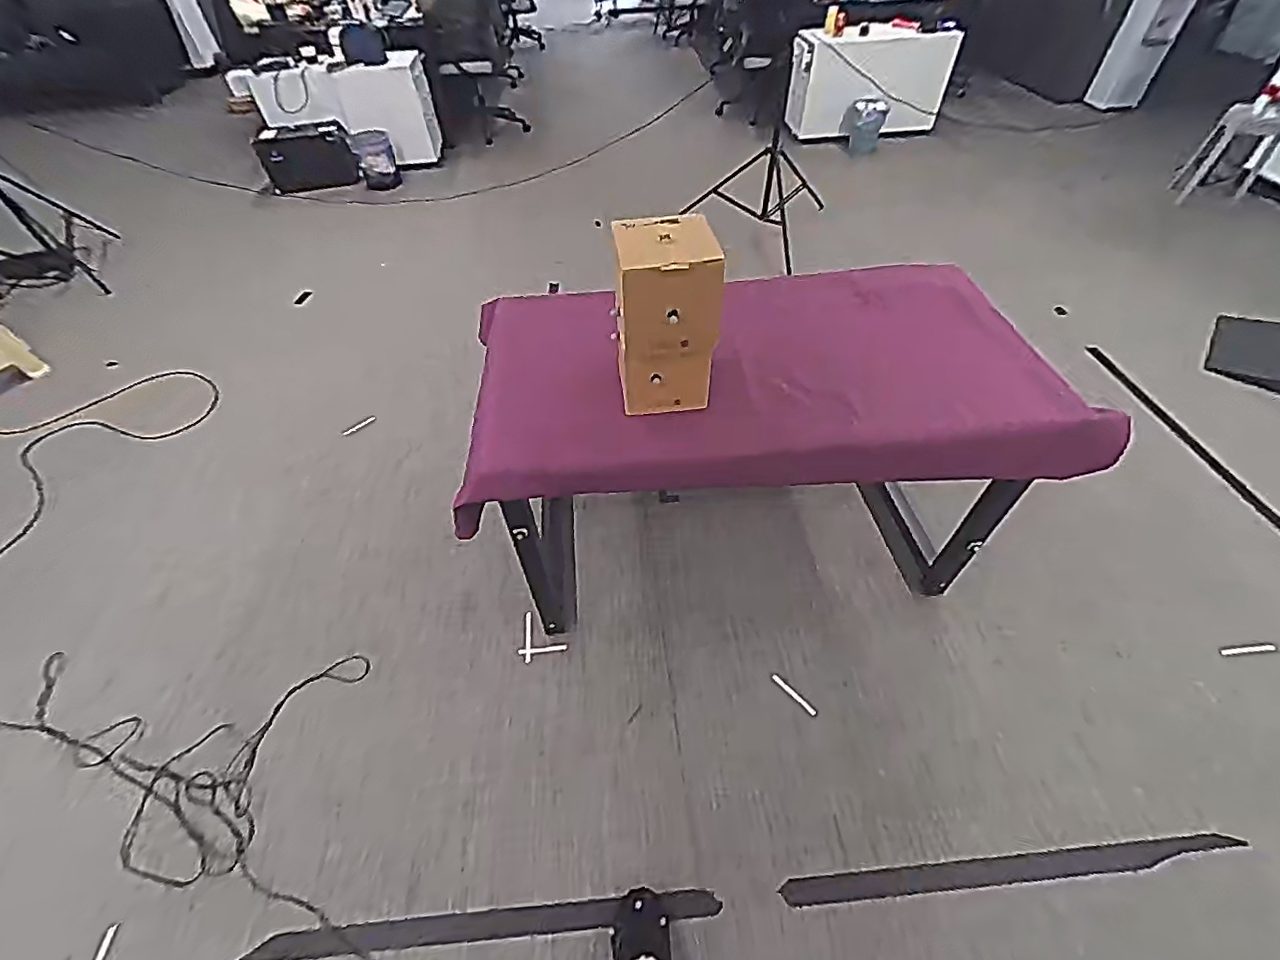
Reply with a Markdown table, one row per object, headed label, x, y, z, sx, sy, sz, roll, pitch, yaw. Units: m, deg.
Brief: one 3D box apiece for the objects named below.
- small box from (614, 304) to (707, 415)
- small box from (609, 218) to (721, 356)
| label | x | y | z | sx | sy | sz | roll | pitch | yaw |
| --- | --- | --- | --- | --- | --- | --- | --- | --- | --- |
| small box | 0.040 | -0.246 | 1.094 | 0.168 | 0.176 | 0.179 | -6 | 49 | -3 |
| small box | 0.040 | -0.333 | 0.953 | 0.168 | 0.176 | 0.179 | -7 | 50 | -4 |
